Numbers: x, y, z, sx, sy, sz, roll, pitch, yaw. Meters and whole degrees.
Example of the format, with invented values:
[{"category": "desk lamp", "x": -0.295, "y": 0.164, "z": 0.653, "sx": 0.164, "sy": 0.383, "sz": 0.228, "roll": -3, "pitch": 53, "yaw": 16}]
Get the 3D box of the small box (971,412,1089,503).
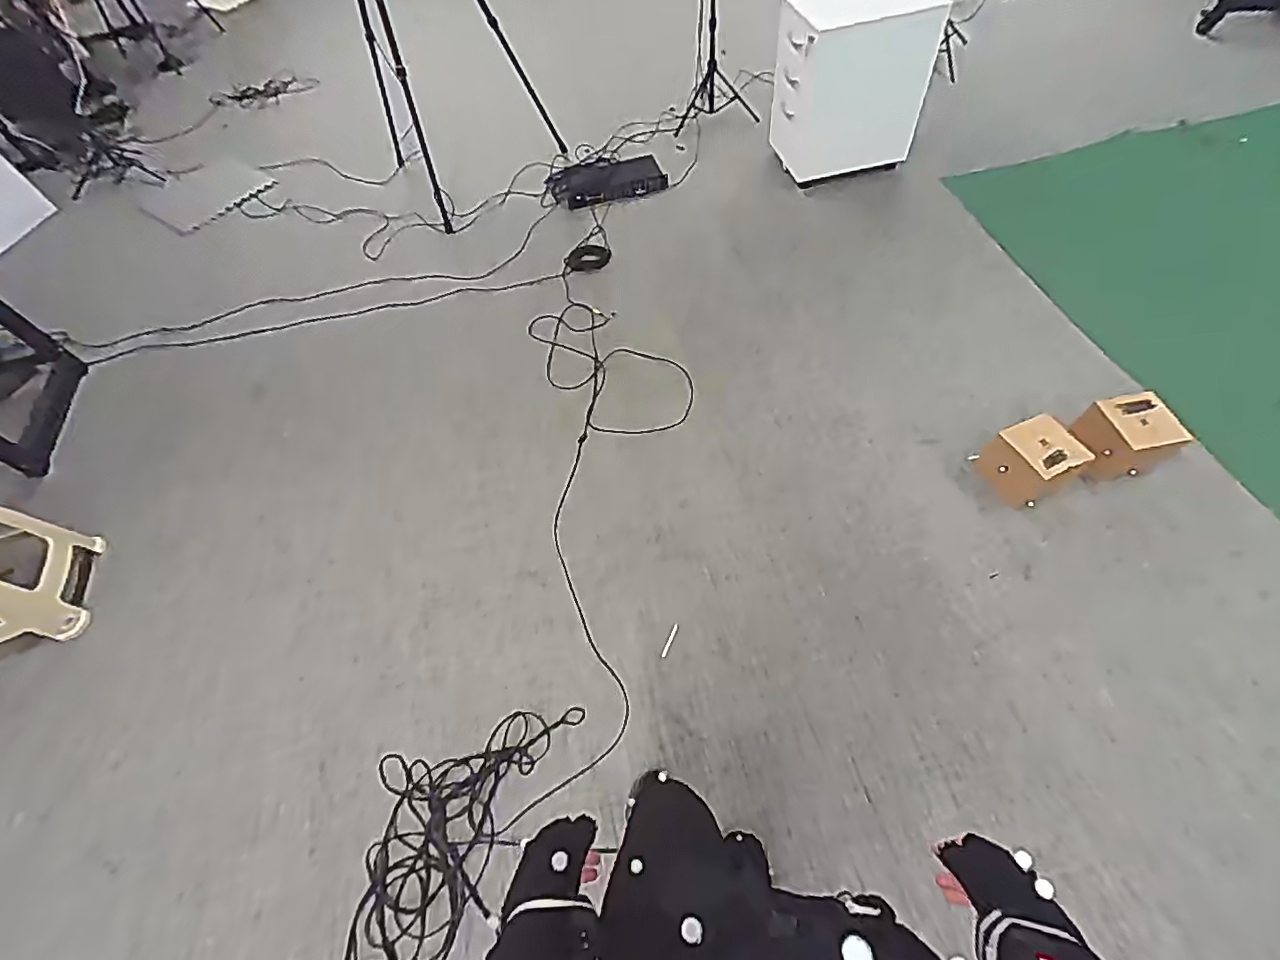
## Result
[{"category": "small box", "x": 1.089, "y": -0.055, "z": 1.525, "sx": 0.168, "sy": 0.176, "sz": 0.179, "roll": -21, "pitch": 57, "yaw": -8}]
